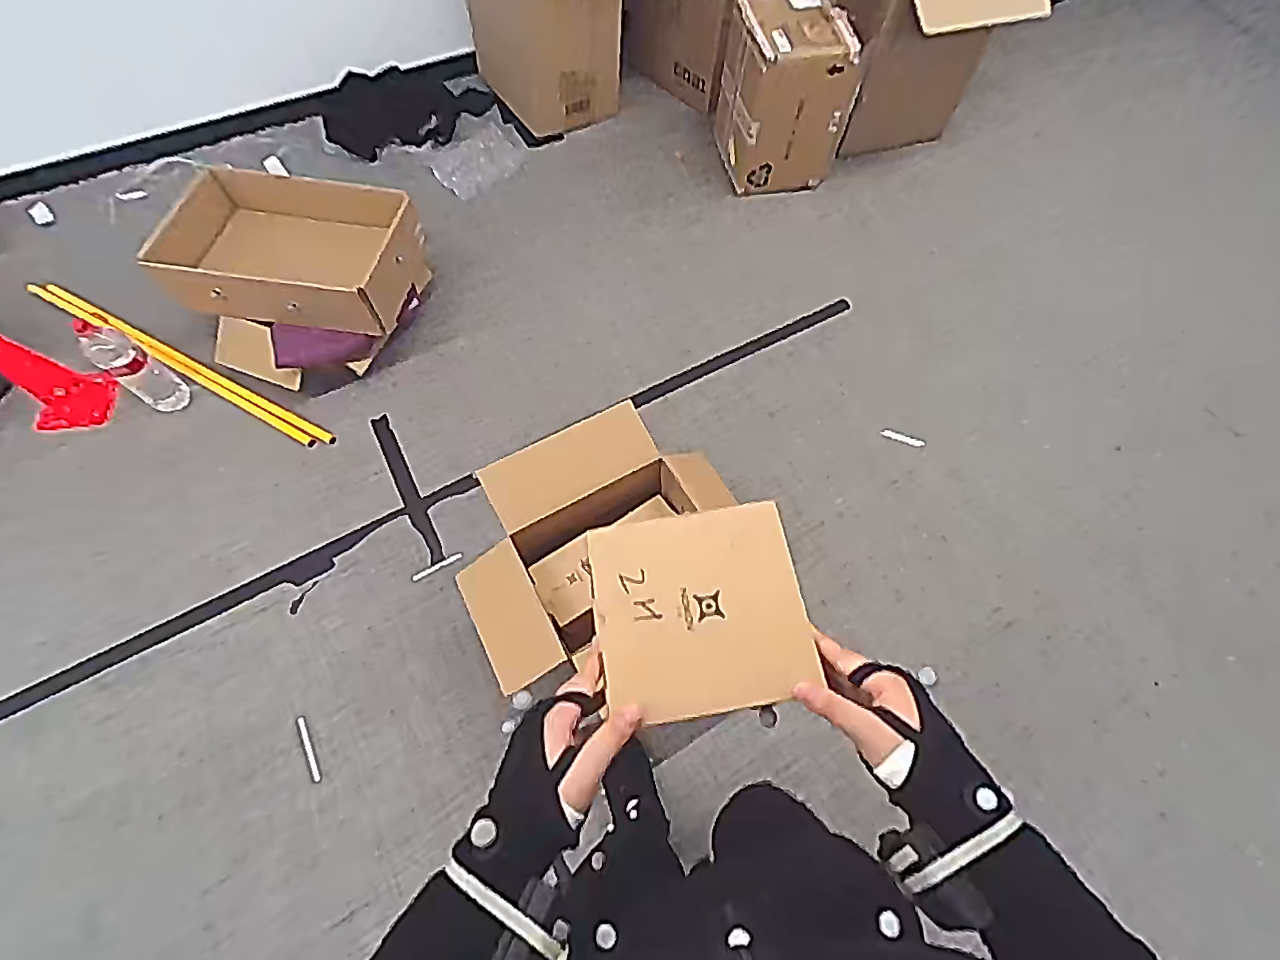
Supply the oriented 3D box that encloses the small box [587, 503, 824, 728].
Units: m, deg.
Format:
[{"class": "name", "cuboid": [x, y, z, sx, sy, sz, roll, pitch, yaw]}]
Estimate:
[{"class": "small box", "cuboid": [0.051, 0.137, 0.526, 0.179, 0.176, 0.168, -9, 66, -1]}]
